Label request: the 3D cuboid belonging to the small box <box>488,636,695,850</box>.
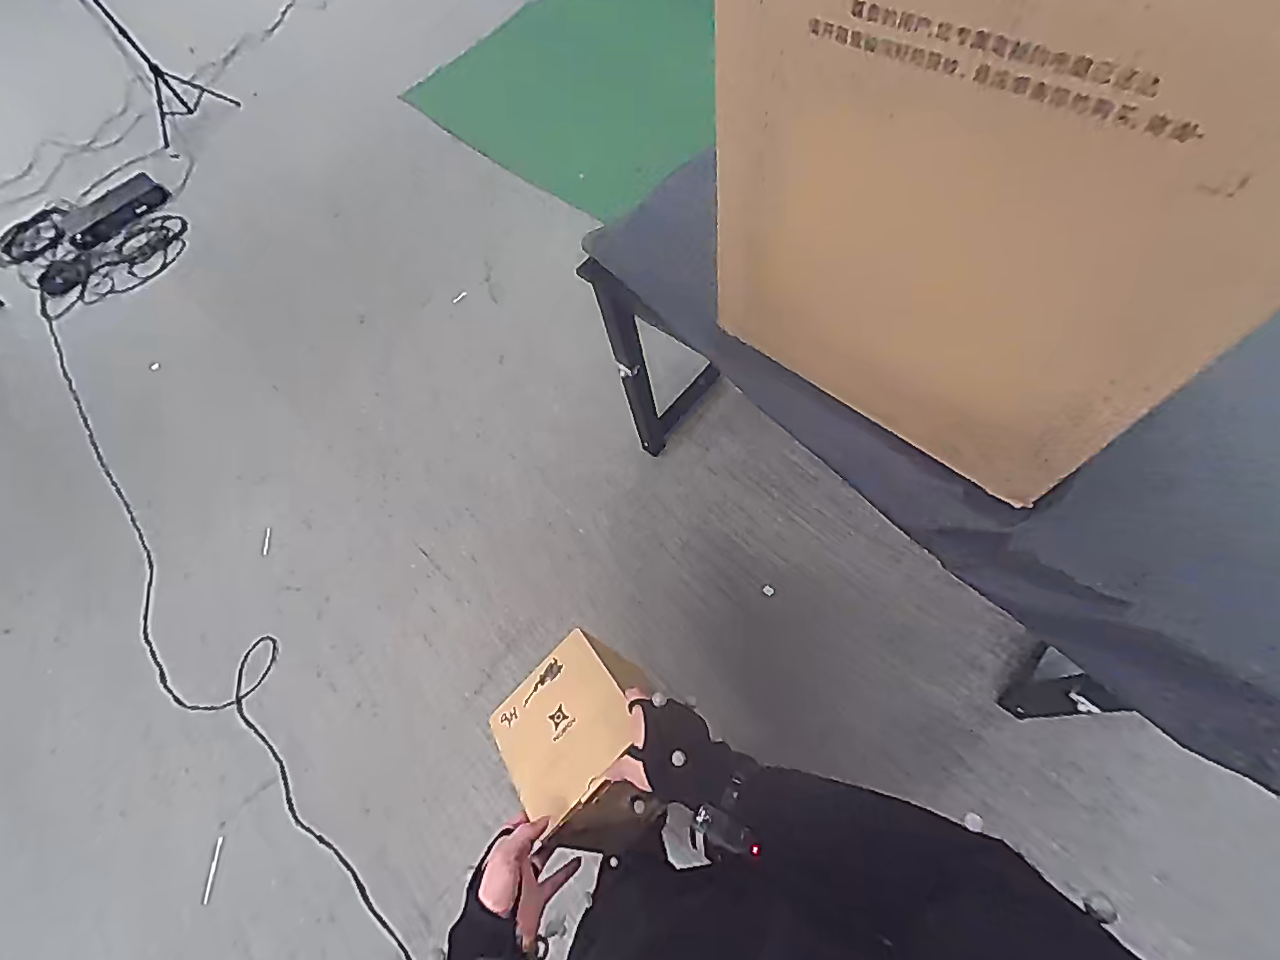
[{"bbox_3d":[-0.059,0.342,0.702,0.168,0.176,0.179,-45,43,-4],"label":"small box"}]
